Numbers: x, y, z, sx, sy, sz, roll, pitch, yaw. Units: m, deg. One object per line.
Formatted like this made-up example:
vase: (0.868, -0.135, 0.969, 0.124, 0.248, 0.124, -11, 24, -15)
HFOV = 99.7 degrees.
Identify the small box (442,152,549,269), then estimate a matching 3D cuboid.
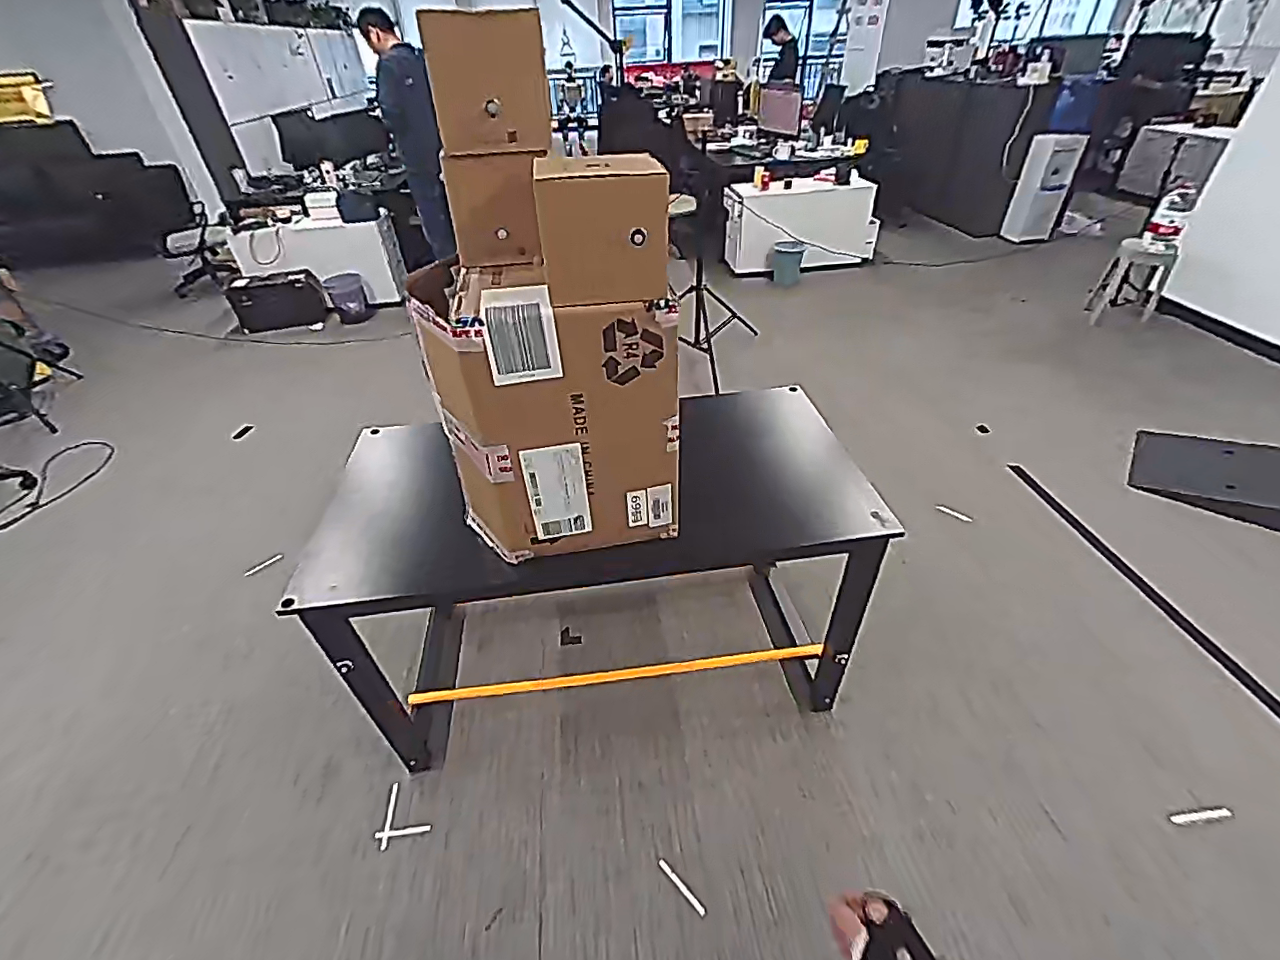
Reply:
small box: (-0.239, -0.481, 0.948, 0.168, 0.176, 0.179, -9, 38, -9)

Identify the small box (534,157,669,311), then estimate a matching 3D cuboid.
small box: (-0.057, -0.366, 0.802, 0.179, 0.176, 0.168, -8, 39, -6)

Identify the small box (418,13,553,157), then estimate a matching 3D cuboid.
small box: (-0.235, -0.609, 0.843, 0.168, 0.176, 0.179, -10, 38, -10)
